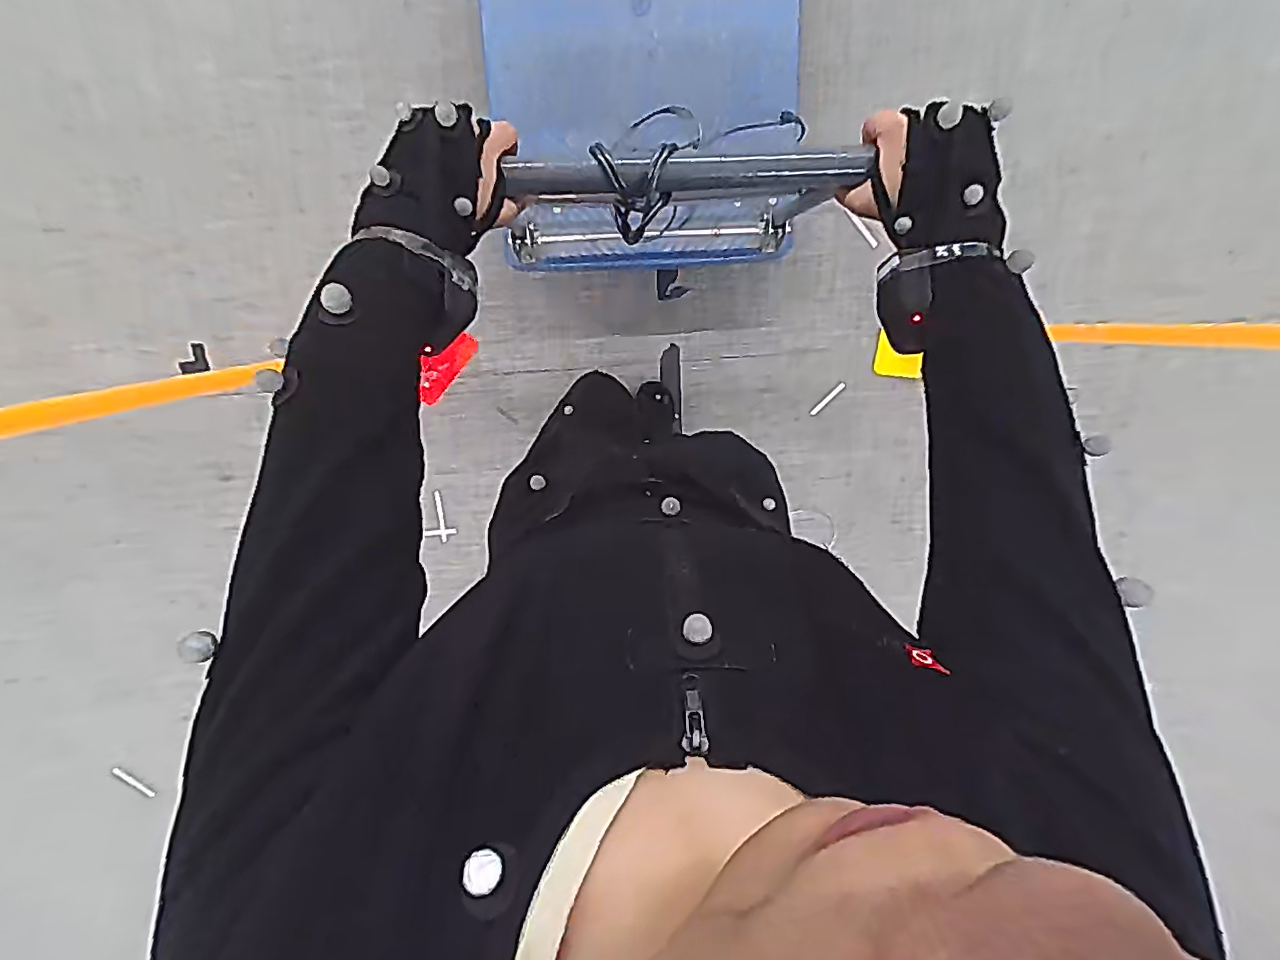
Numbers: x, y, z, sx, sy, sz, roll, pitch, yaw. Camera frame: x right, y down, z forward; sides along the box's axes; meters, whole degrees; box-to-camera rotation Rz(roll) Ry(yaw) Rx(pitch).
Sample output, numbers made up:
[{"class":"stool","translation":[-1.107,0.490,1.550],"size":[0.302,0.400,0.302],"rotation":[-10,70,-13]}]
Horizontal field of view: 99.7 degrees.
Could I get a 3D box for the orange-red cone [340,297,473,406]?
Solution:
[{"class":"orange-red cone","translation":[-0.508,-0.256,1.099],"size":[0.198,0.360,0.199],"rotation":[41,99,-12]}]
